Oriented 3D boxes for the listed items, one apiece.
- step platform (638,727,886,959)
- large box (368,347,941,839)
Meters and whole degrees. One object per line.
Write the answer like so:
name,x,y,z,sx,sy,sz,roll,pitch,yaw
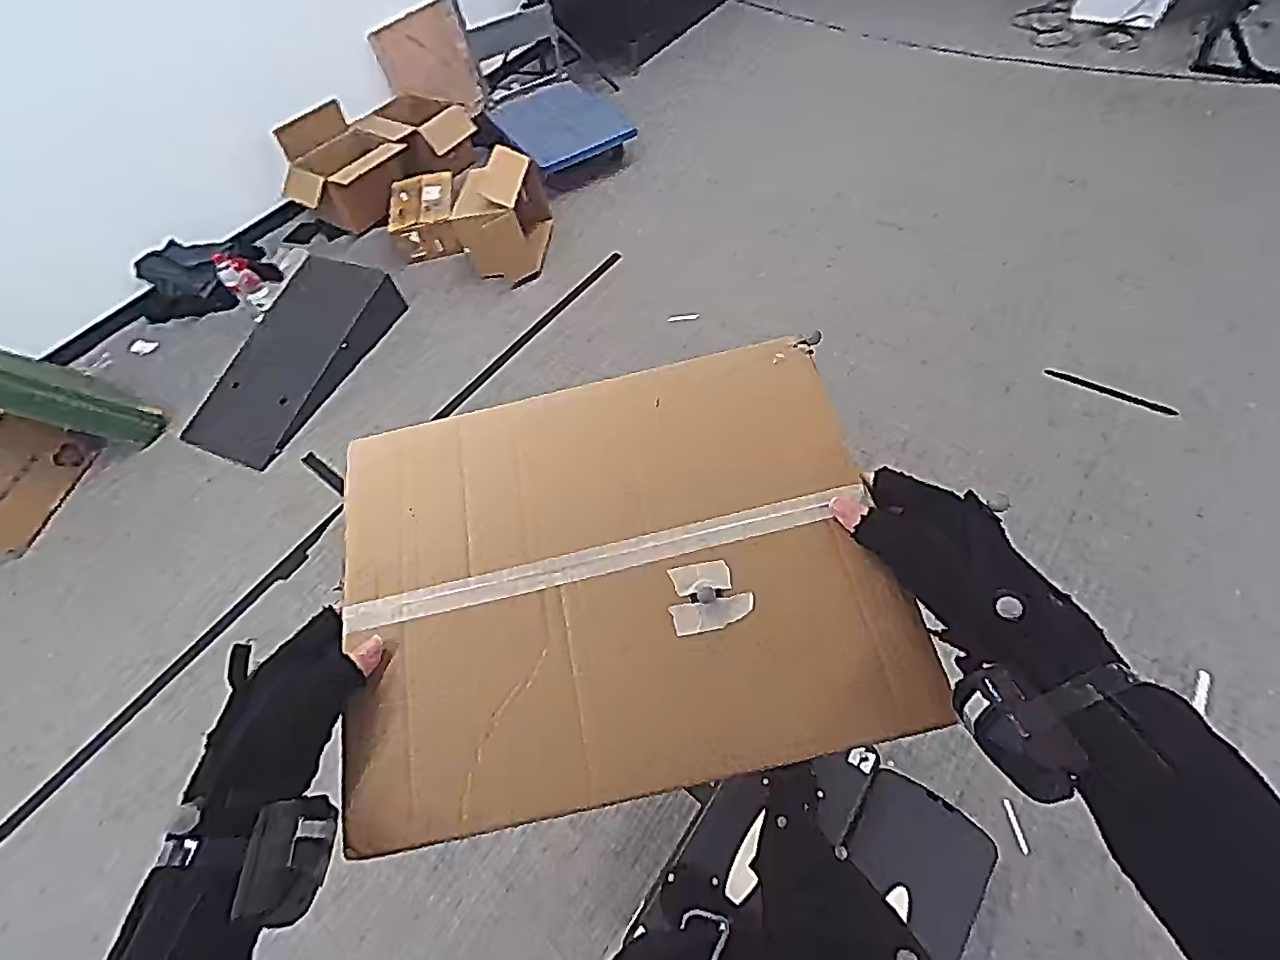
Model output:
step platform,0.289,0.803,1.237,0.286,0.204,0.684,29,65,24
large box,-0.005,0.121,0.557,0.408,0.320,0.320,-13,67,1
